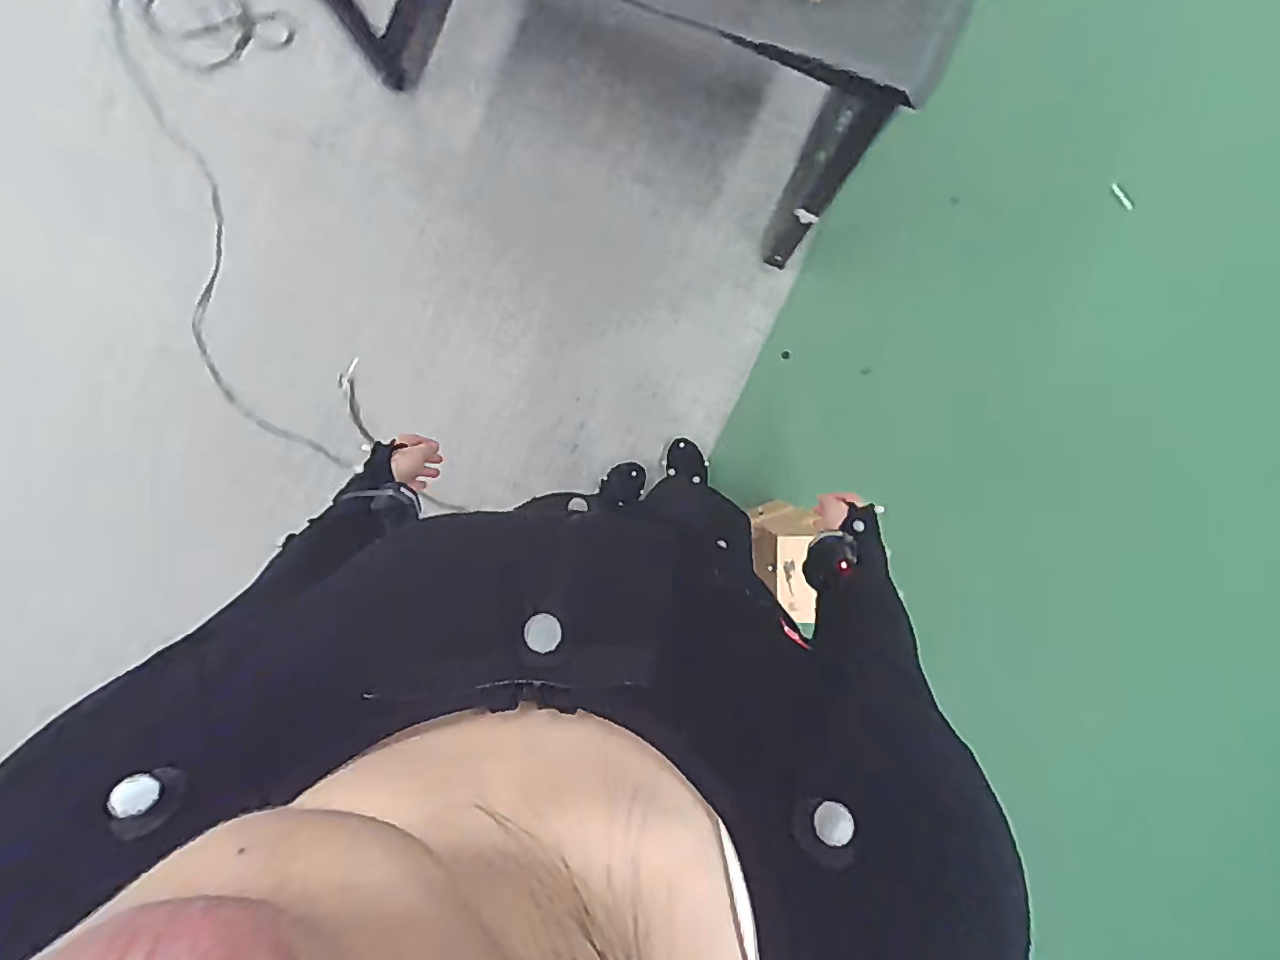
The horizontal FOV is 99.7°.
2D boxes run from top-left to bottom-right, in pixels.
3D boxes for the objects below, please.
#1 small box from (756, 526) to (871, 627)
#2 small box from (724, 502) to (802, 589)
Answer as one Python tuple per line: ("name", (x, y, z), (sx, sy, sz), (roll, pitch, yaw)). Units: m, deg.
("small box", (0.338, 0.184, 1.078), (0.179, 0.176, 0.168), (0, 93, 1))
("small box", (0.326, 0.164, 1.405), (0.179, 0.176, 0.168), (-18, 94, 2))
